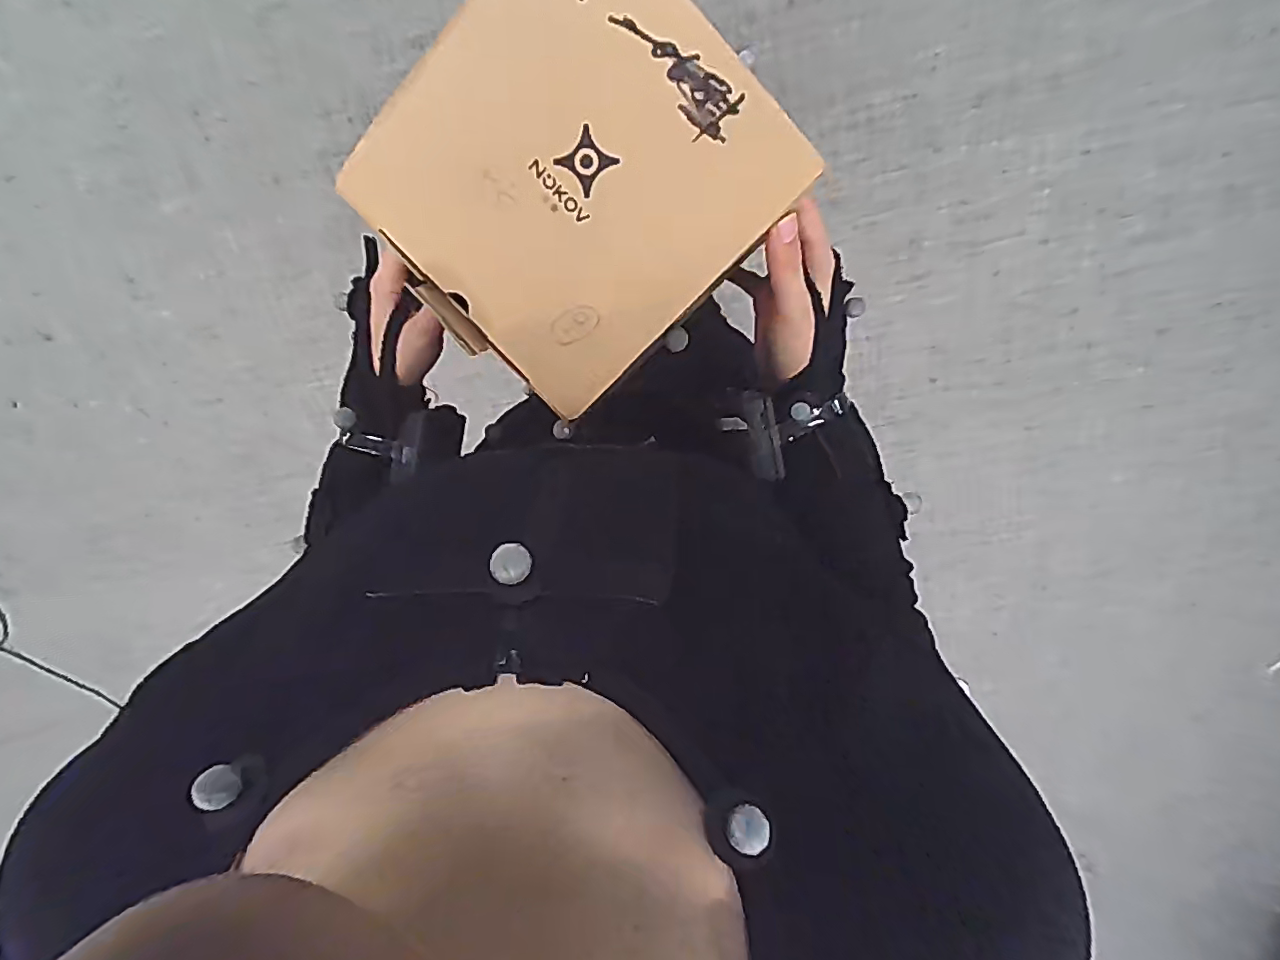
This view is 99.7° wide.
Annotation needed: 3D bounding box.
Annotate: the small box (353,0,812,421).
[{"bbox_3d":[-0.026,-0.163,0.344,0.179,0.176,0.168,-43,98,12],"label":"small box"}]
